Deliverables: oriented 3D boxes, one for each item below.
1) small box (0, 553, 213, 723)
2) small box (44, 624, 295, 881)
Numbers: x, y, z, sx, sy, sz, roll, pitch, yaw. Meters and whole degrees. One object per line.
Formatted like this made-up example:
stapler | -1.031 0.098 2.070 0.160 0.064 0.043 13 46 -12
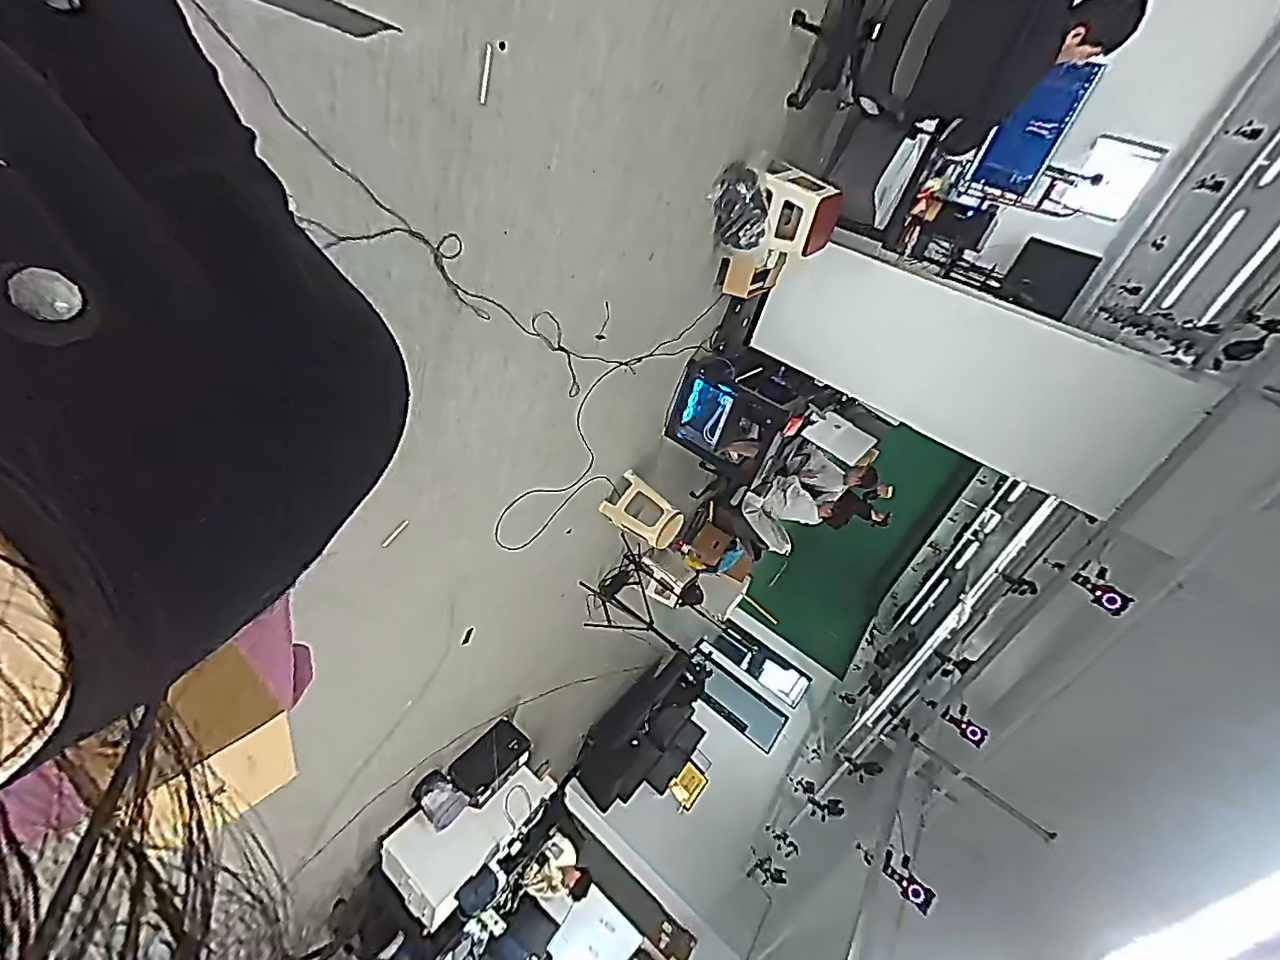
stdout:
small box | -0.681 0.230 0.706 0.168 0.176 0.179 -30 146 -49
small box | -0.555 0.314 0.649 0.179 0.176 0.168 -31 149 -49
